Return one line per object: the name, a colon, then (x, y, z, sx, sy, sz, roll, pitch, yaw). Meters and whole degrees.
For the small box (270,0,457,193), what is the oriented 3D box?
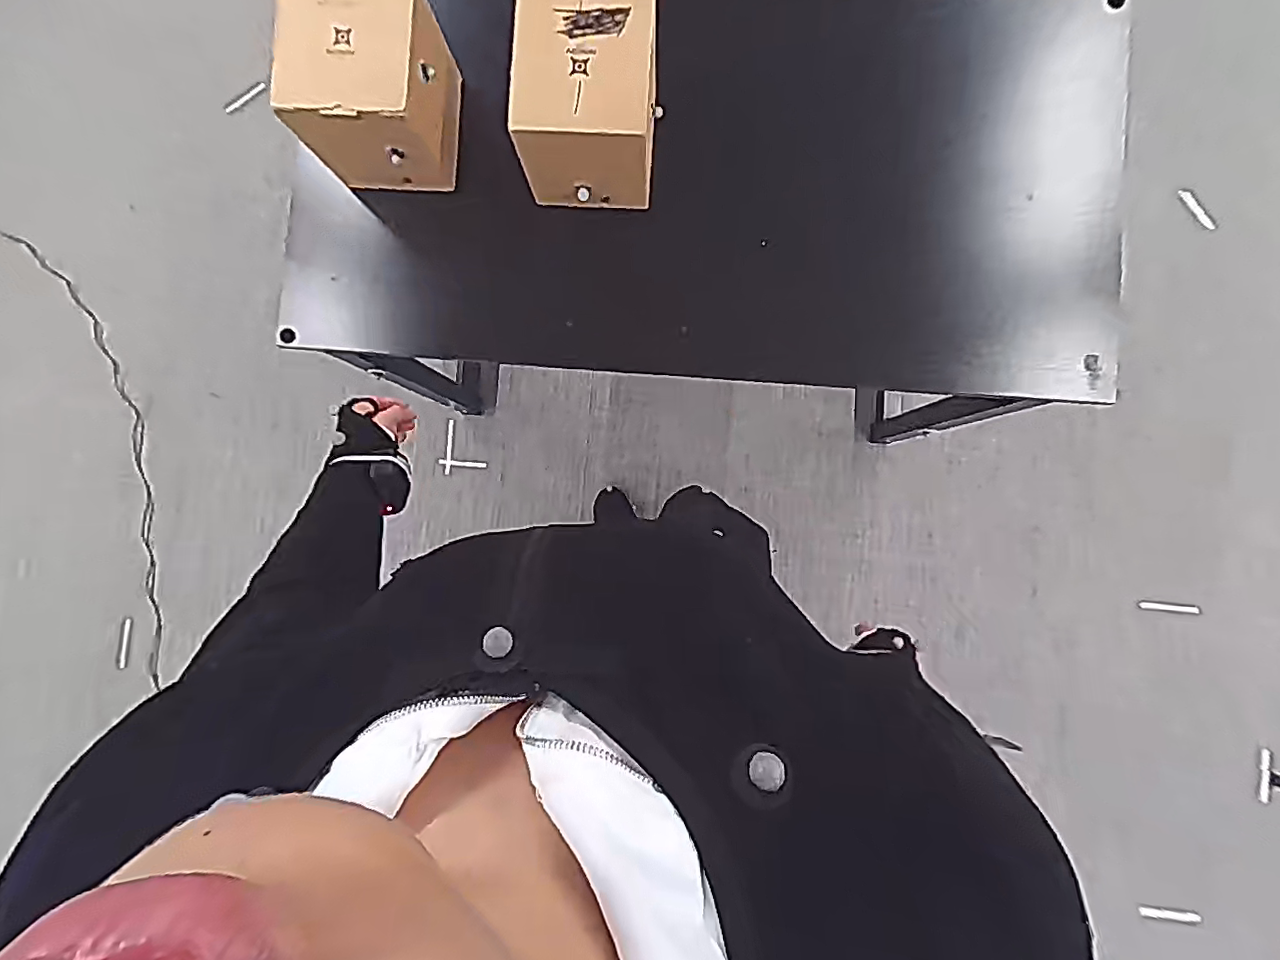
small box: (-0.359, -0.516, 0.731, 0.168, 0.176, 0.179, 2, 87, 0)

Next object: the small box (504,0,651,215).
small box: (-0.073, -0.486, 0.722, 0.168, 0.176, 0.179, 3, 88, 2)
